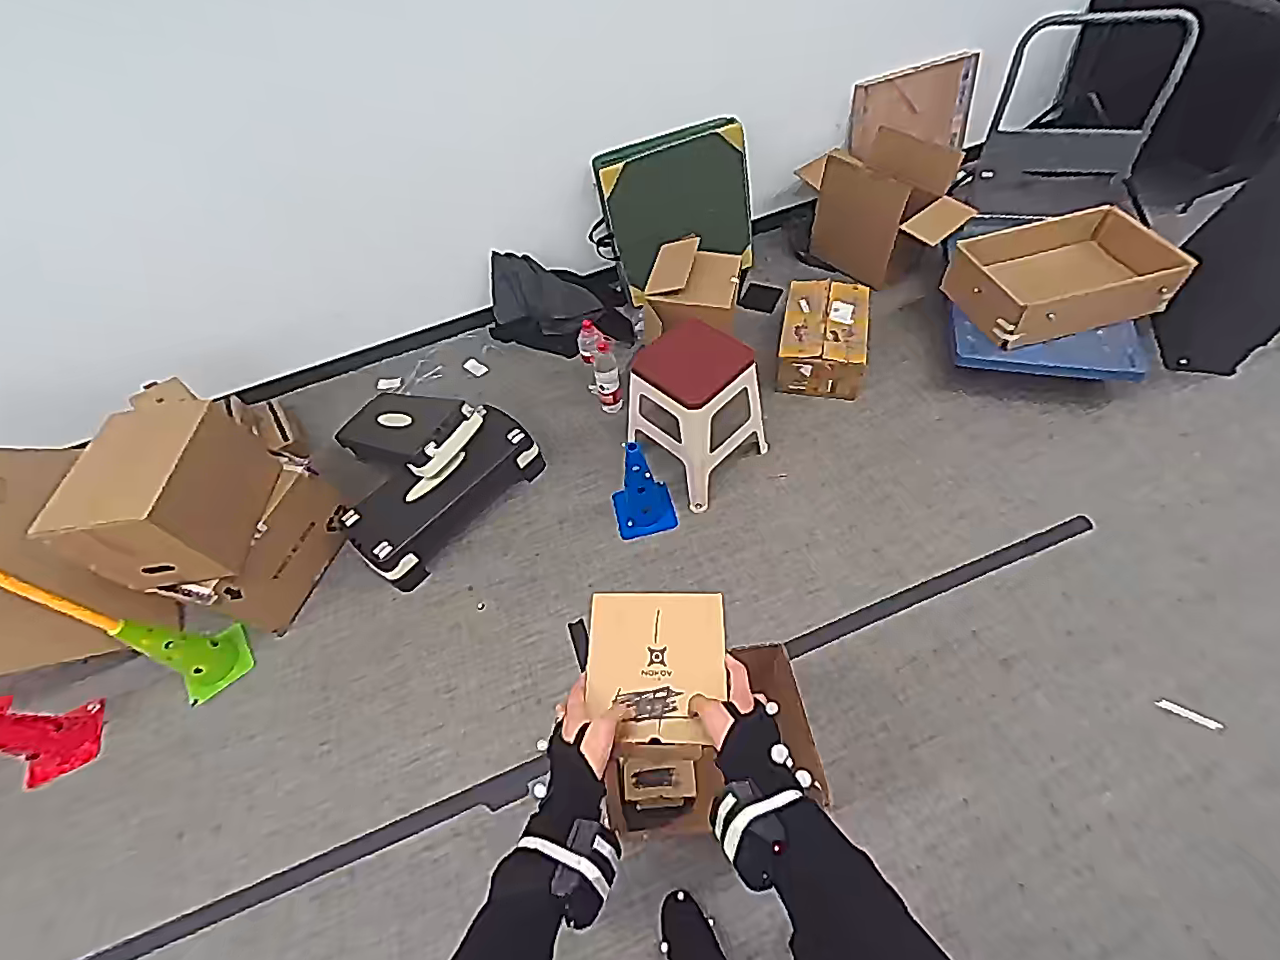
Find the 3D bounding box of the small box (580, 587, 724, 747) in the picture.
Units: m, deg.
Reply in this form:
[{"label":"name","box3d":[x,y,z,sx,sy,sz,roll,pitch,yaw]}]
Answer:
[{"label":"small box","box3d":[0.023,0.250,0.710,0.168,0.176,0.179,0,61,5]}]
